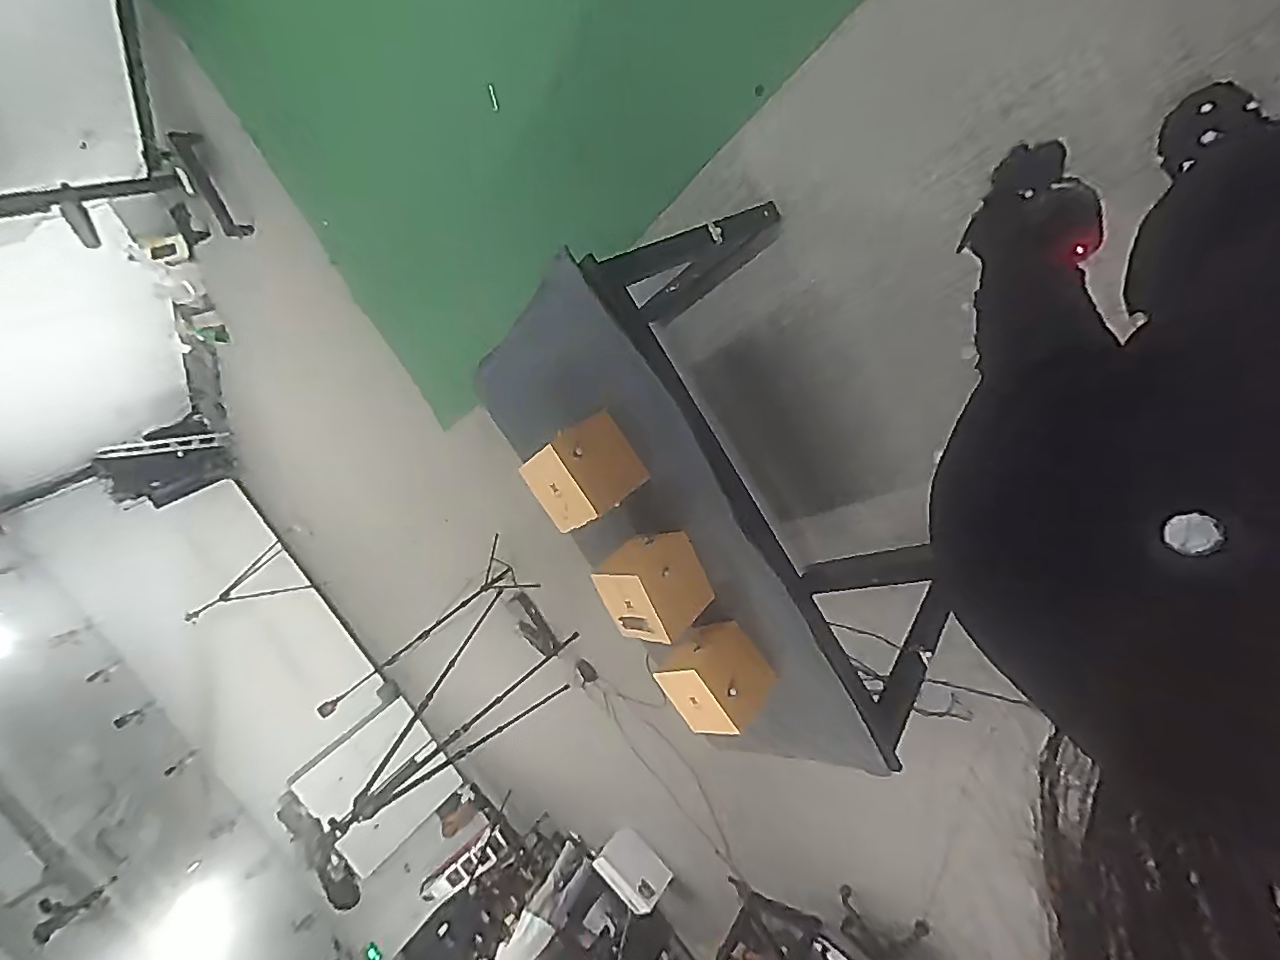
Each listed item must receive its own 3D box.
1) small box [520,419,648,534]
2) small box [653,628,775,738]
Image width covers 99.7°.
[{"bbox_3d":[-0.117,-0.013,1.155,0.168,0.176,0.179,-27,98,51],"label":"small box"},{"bbox_3d":[0.169,0.454,1.227,0.179,0.176,0.168,54,141,-3],"label":"small box"}]
